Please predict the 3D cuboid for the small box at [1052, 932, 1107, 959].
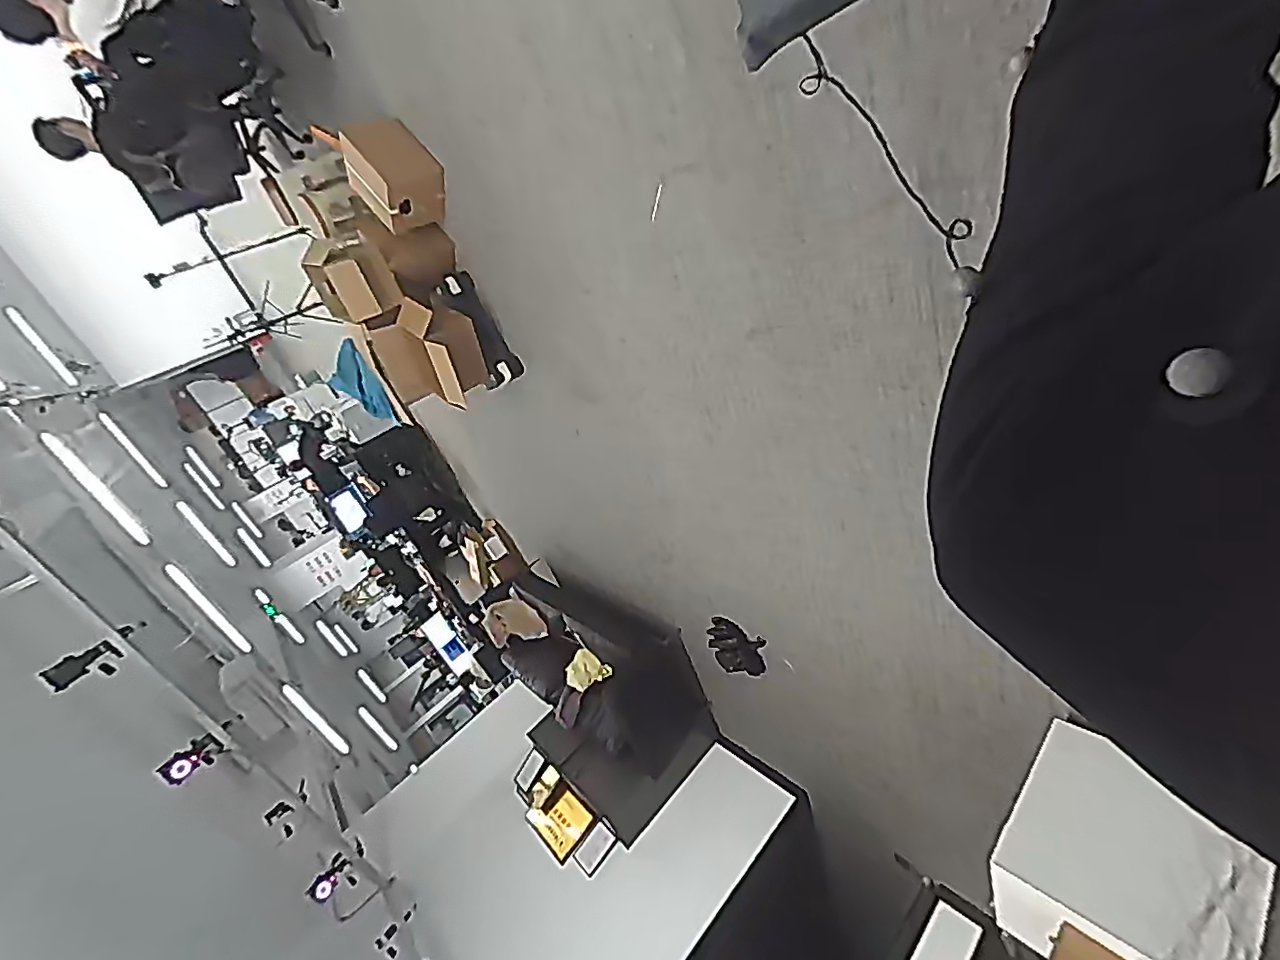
[{"bbox_3d":[1.151,1.320,1.375,0.179,0.176,0.168,16,134,50],"label":"small box"}]
